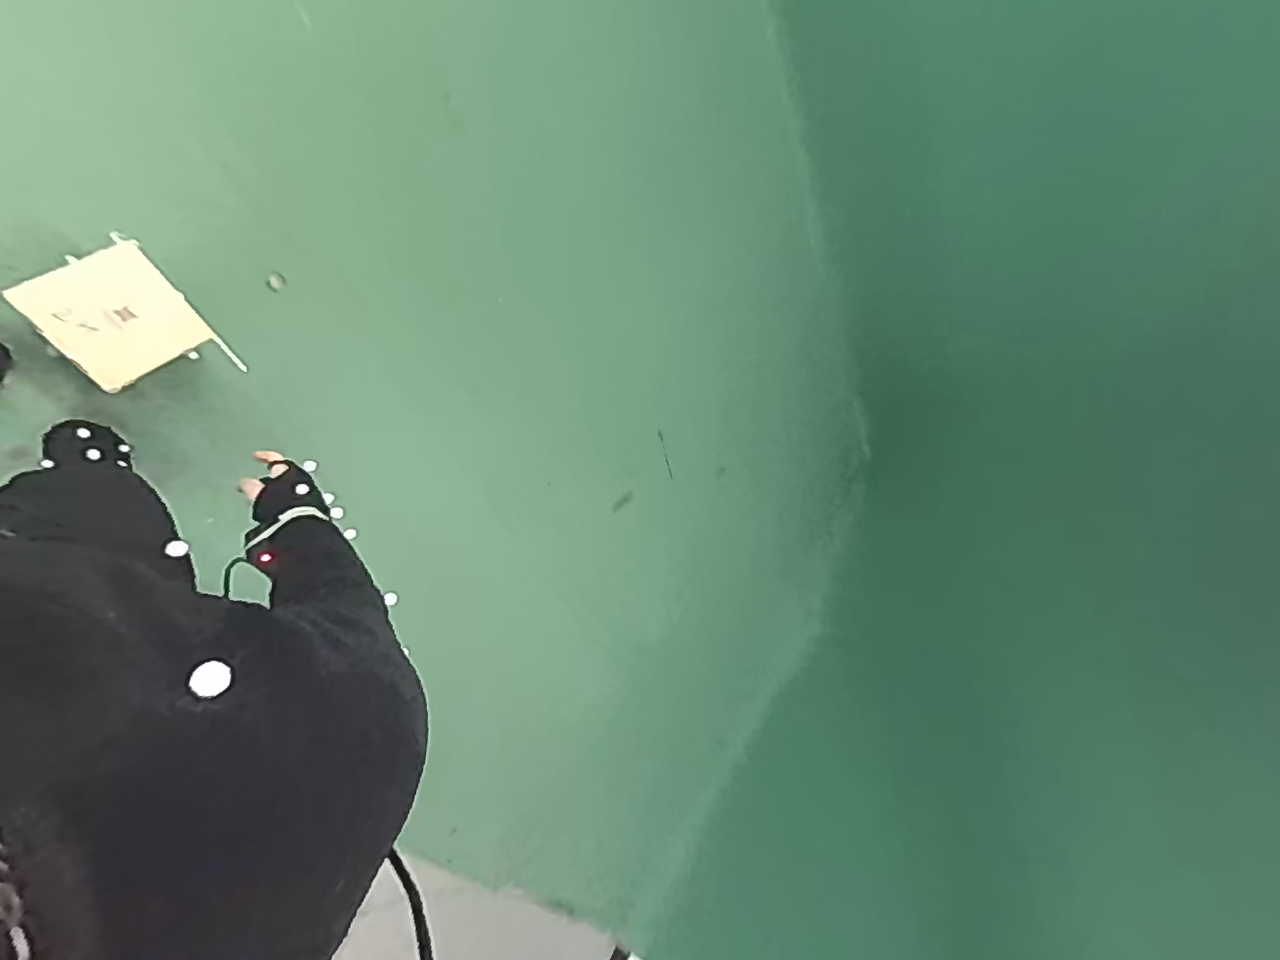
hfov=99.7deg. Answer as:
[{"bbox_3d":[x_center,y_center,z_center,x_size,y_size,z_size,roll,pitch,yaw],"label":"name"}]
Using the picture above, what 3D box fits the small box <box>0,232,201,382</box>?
[{"bbox_3d":[-0.873,-0.276,0.875,0.179,0.176,0.168,-46,127,-29],"label":"small box"}]
